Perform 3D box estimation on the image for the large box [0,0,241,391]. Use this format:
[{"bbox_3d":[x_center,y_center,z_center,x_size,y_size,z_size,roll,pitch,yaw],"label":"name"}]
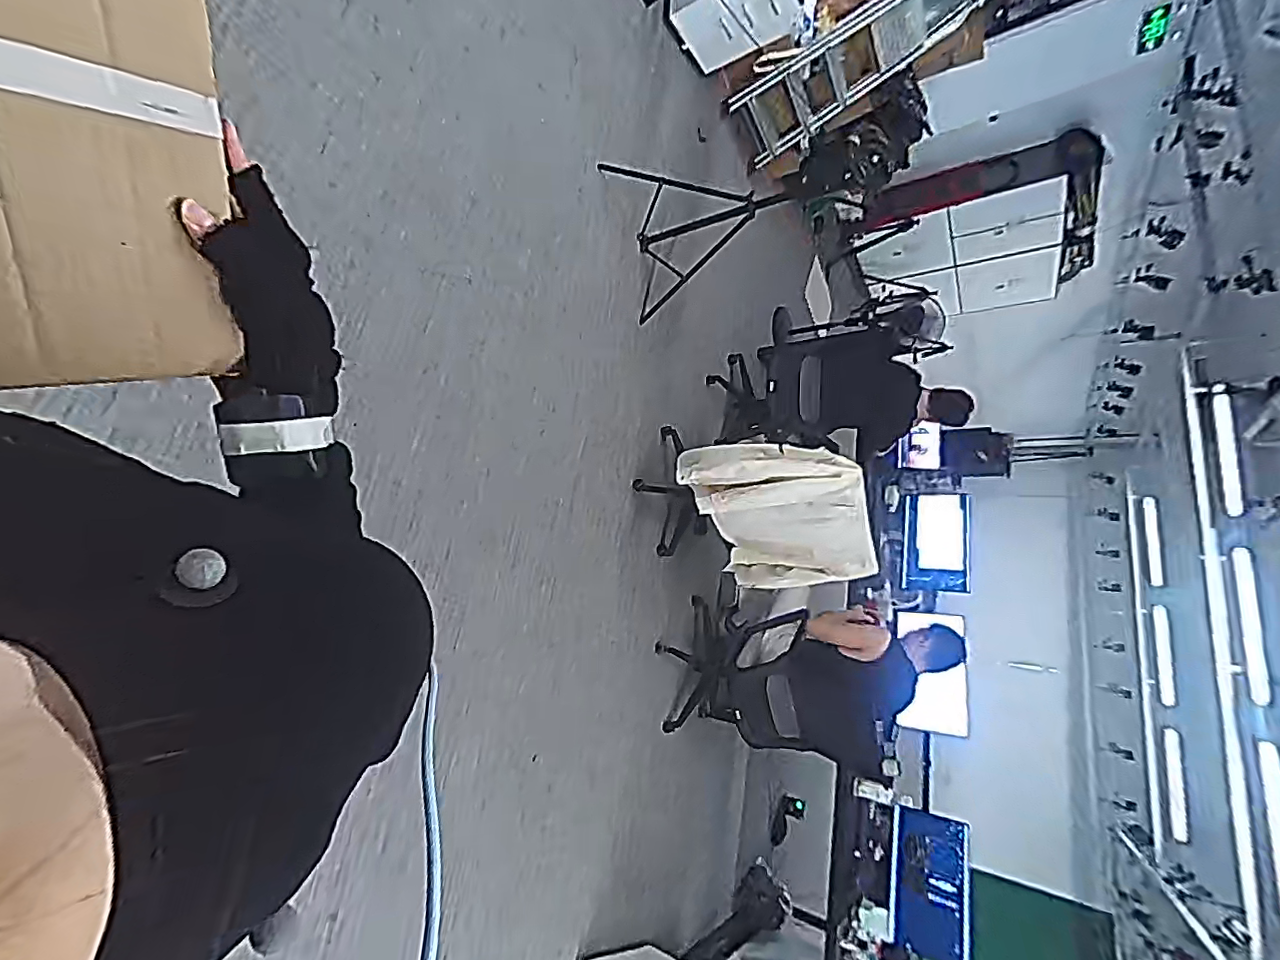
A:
[{"bbox_3d":[-0.497,-0.221,0.246,0.408,0.320,0.320,-23,131,-53],"label":"large box"}]
